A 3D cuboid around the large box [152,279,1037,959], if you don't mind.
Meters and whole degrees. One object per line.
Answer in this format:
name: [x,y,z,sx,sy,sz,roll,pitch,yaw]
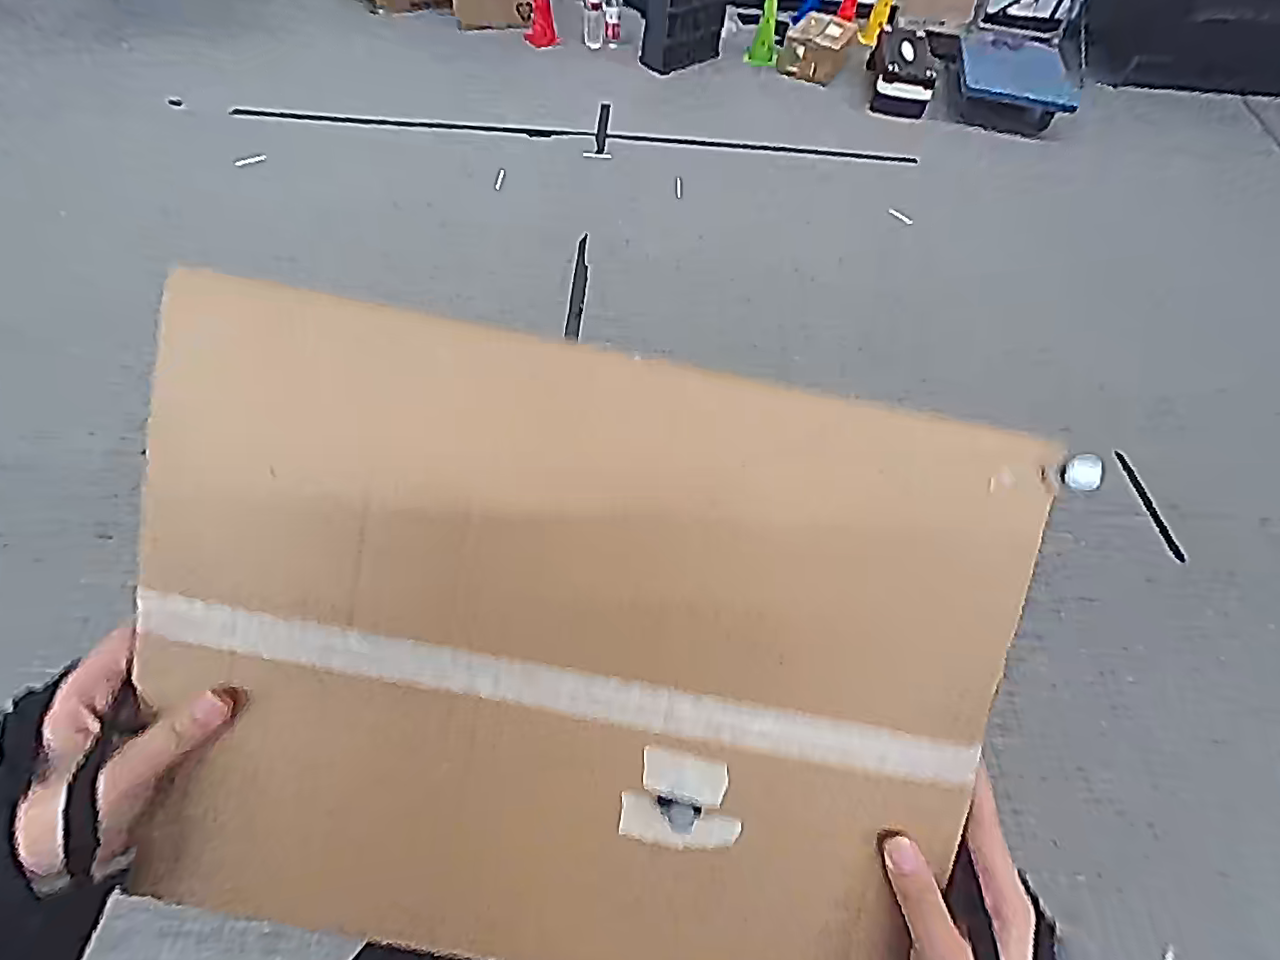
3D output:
large box: [-0.033,0.071,0.414,0.408,0.320,0.320,10,98,-1]
